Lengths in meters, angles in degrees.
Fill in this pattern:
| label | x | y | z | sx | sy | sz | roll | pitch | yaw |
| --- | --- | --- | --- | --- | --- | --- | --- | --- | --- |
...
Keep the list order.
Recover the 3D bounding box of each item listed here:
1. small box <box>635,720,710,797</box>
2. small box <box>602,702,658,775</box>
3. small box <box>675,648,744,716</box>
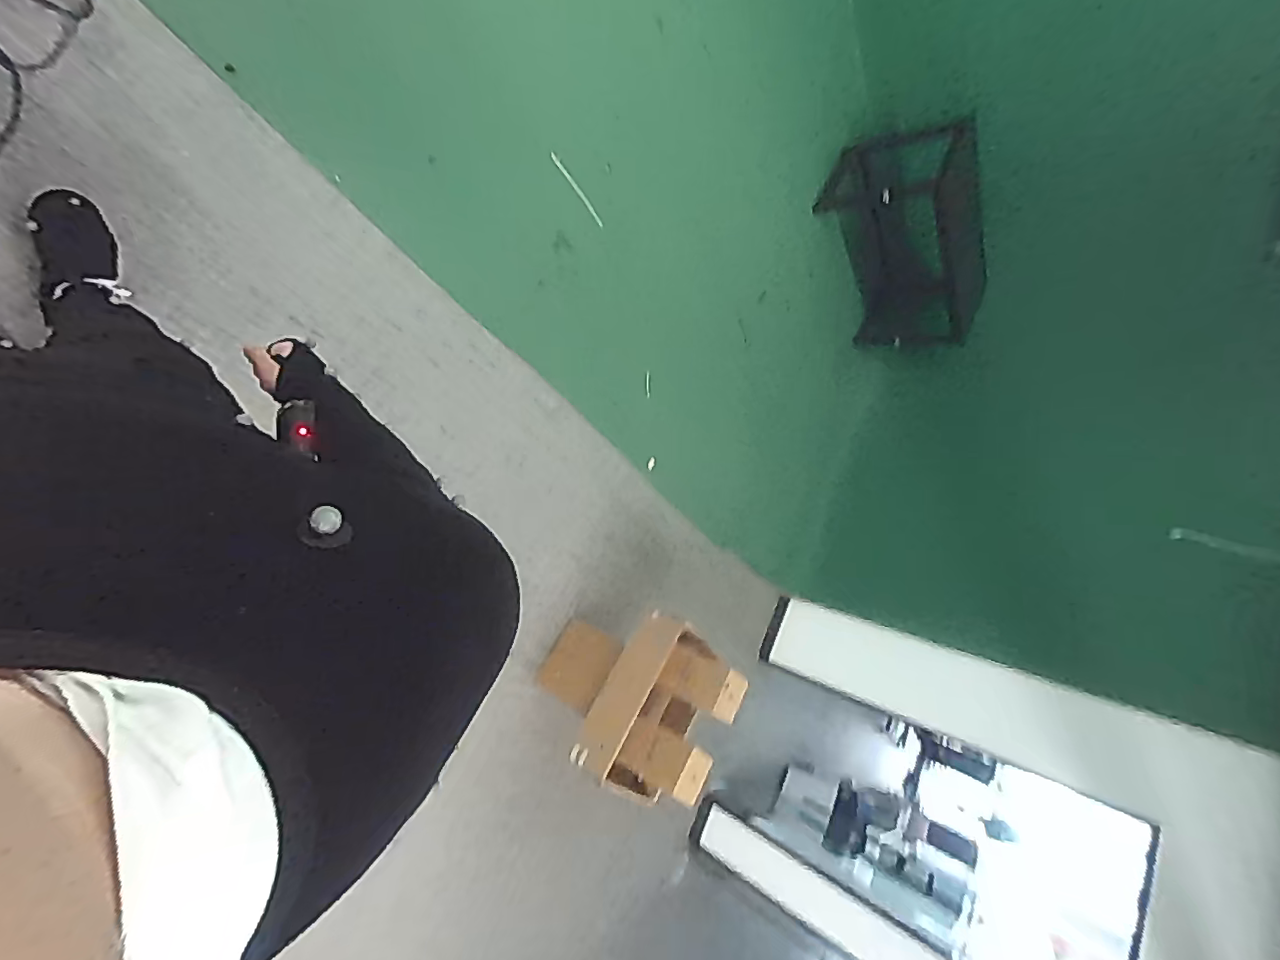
| label | x | y | z | sx | sy | sz | roll | pitch | yaw |
| --- | --- | --- | --- | --- | --- | --- | --- | --- | --- |
| small box | 0.116 | 0.981 | 1.912 | 0.168 | 0.176 | 0.179 | -57 | 135 | -23 |
| small box | -0.008 | 0.959 | 2.017 | 0.168 | 0.176 | 0.179 | -56 | 135 | -24 |
| small box | 0.259 | 0.750 | 2.017 | 0.179 | 0.176 | 0.168 | 48 | 63 | -44 |
